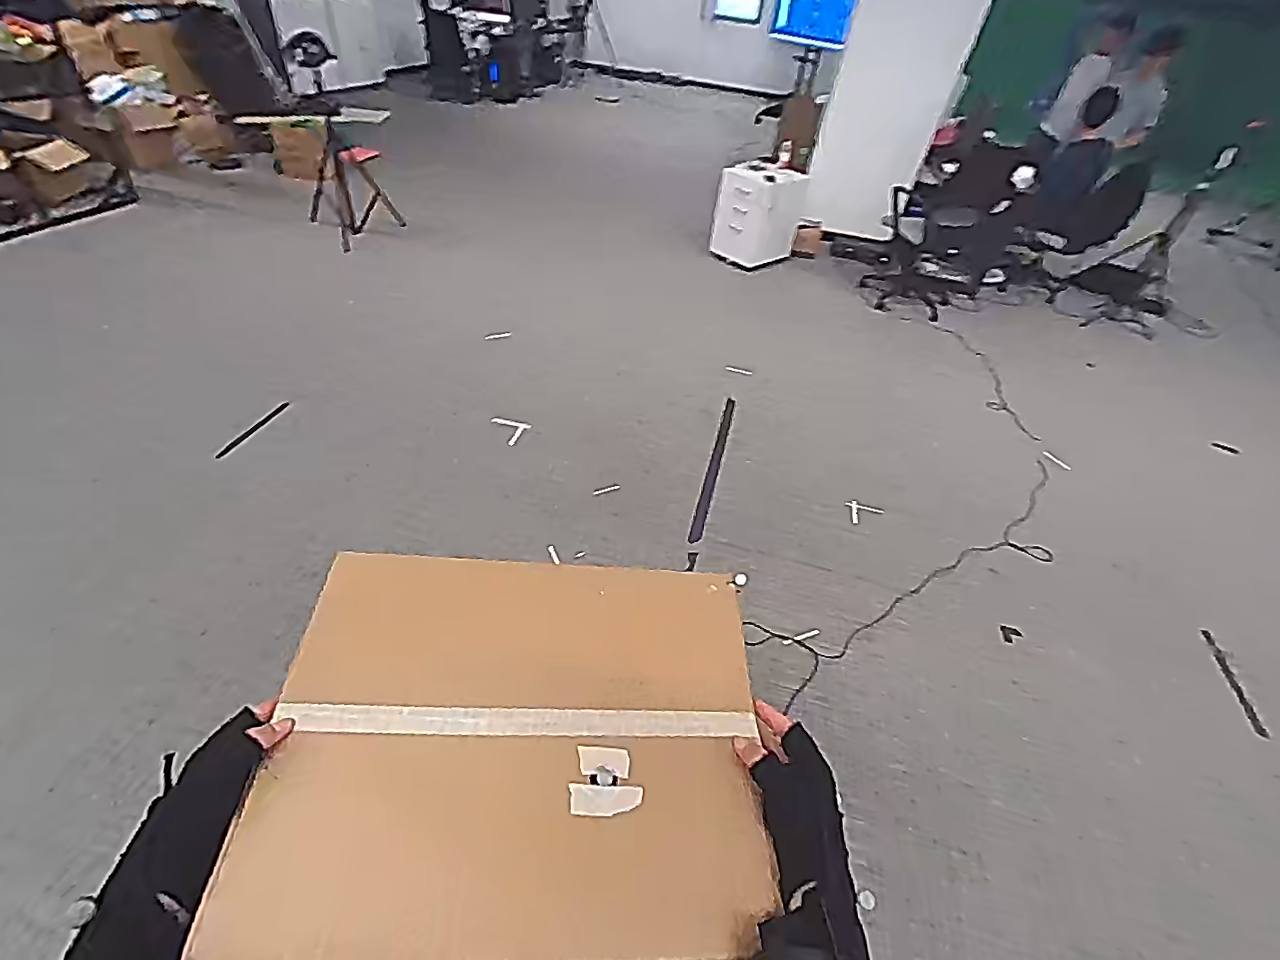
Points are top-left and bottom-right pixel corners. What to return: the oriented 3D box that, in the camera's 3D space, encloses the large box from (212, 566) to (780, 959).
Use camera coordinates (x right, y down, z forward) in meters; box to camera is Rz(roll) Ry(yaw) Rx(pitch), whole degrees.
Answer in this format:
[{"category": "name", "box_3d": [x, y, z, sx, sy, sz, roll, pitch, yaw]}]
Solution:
[{"category": "large box", "box_3d": [-0.116, 0.313, 0.586, 0.408, 0.320, 0.320, 5, 51, -7]}]
